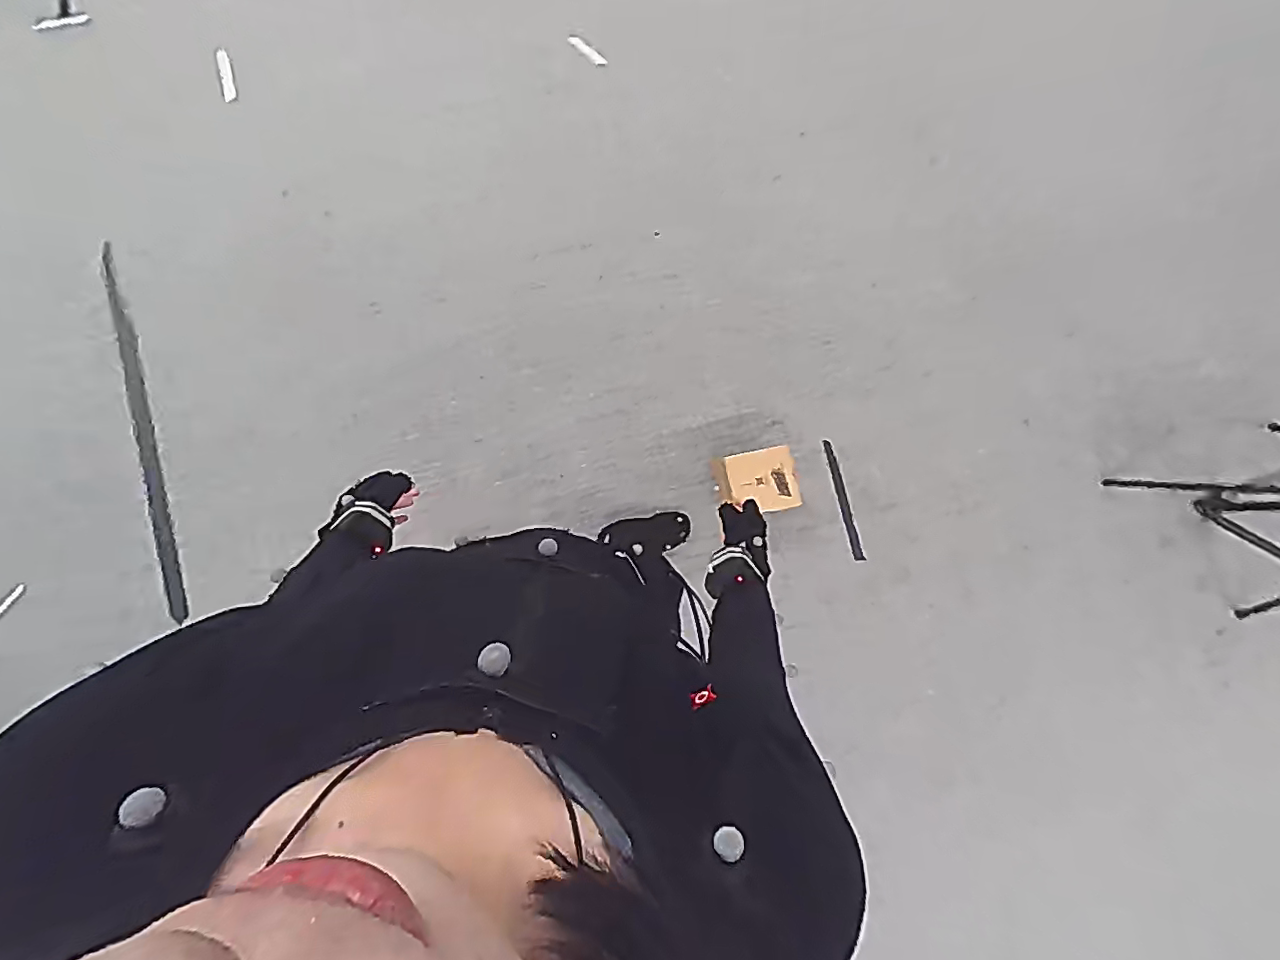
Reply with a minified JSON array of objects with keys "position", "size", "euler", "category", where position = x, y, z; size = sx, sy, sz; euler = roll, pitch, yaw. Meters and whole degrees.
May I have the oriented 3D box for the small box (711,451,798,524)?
[{"position":[0.310,0.022,1.486],"size":[0.179,0.176,0.168],"euler":[-11,87,-4],"category":"small box"}]
